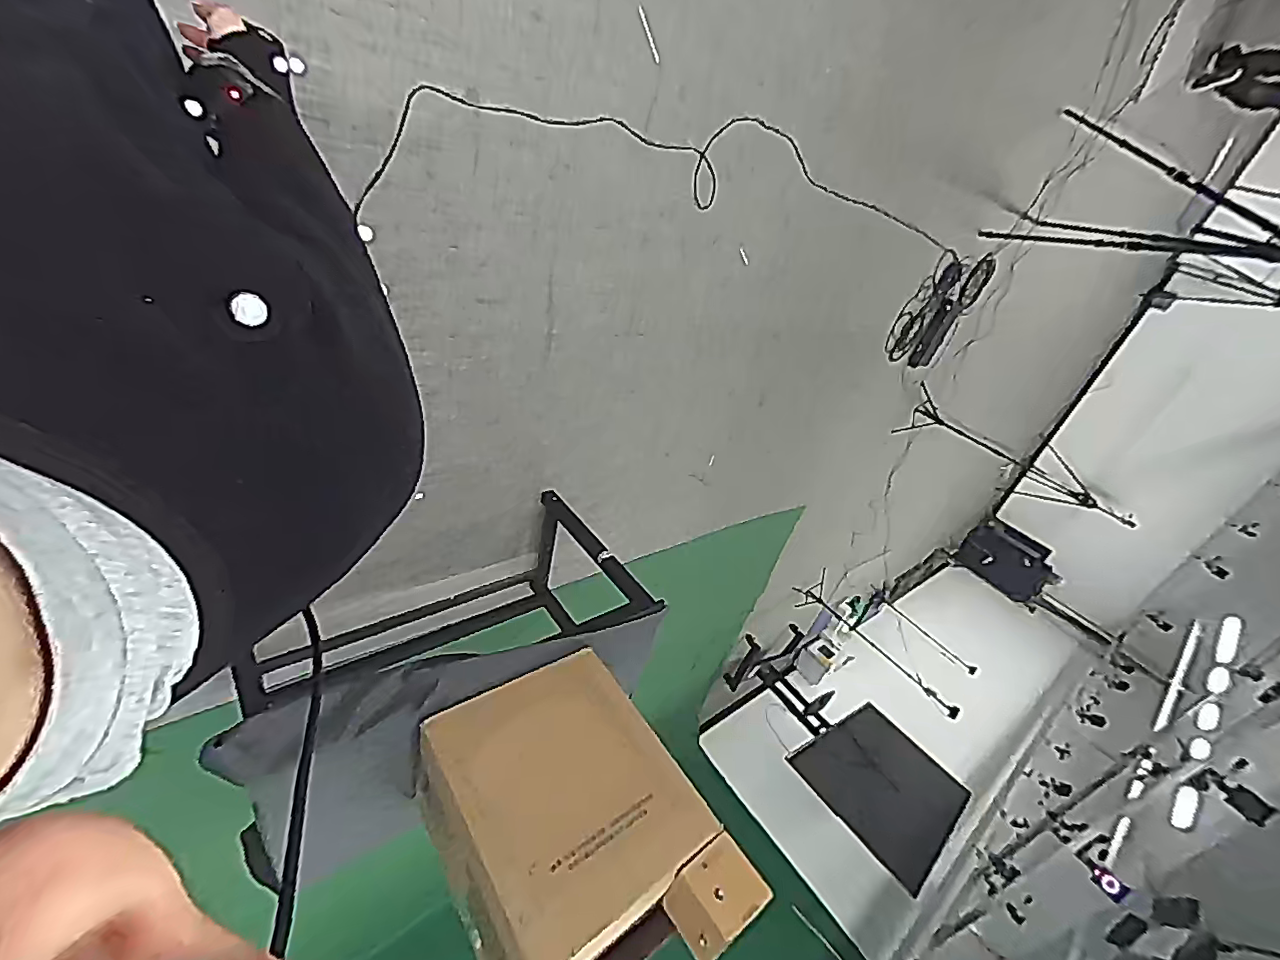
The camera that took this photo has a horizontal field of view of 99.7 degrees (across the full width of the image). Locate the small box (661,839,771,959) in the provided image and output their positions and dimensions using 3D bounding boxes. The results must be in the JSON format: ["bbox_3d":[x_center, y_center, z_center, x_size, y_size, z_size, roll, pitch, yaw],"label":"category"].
[{"bbox_3d":[0.175,1.008,1.296,0.168,0.176,0.179,-12,132,-39],"label":"small box"}]
